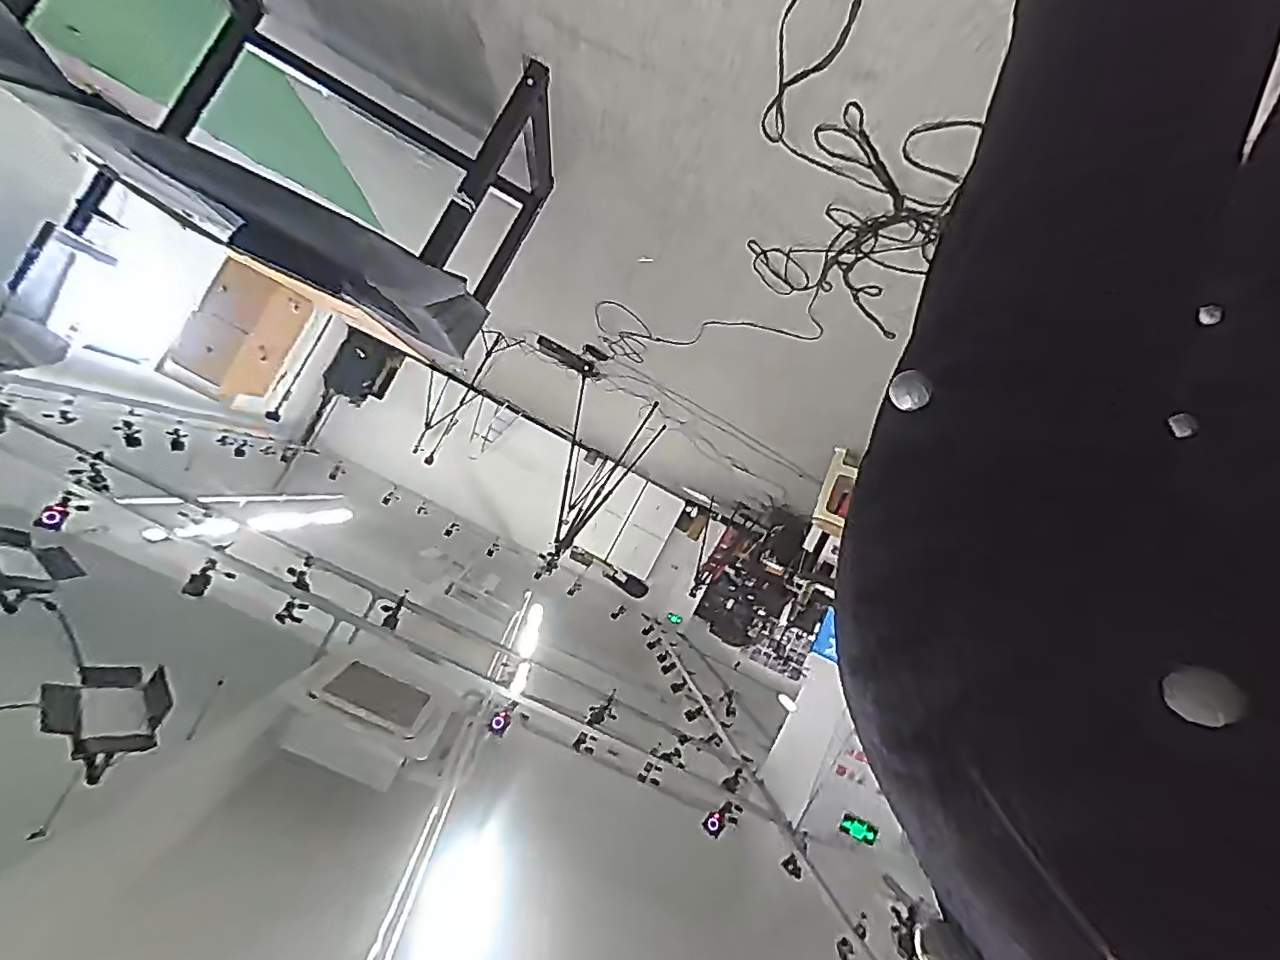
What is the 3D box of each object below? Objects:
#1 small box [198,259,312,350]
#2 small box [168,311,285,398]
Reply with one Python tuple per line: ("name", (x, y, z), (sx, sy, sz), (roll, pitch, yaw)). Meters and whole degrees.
("small box", (-1.099, -0.507, 1.557), (0.179, 0.176, 0.168), (27, 179, 2))
("small box", (-1.178, -0.363, 1.555), (0.179, 0.176, 0.168), (28, 179, 3))
